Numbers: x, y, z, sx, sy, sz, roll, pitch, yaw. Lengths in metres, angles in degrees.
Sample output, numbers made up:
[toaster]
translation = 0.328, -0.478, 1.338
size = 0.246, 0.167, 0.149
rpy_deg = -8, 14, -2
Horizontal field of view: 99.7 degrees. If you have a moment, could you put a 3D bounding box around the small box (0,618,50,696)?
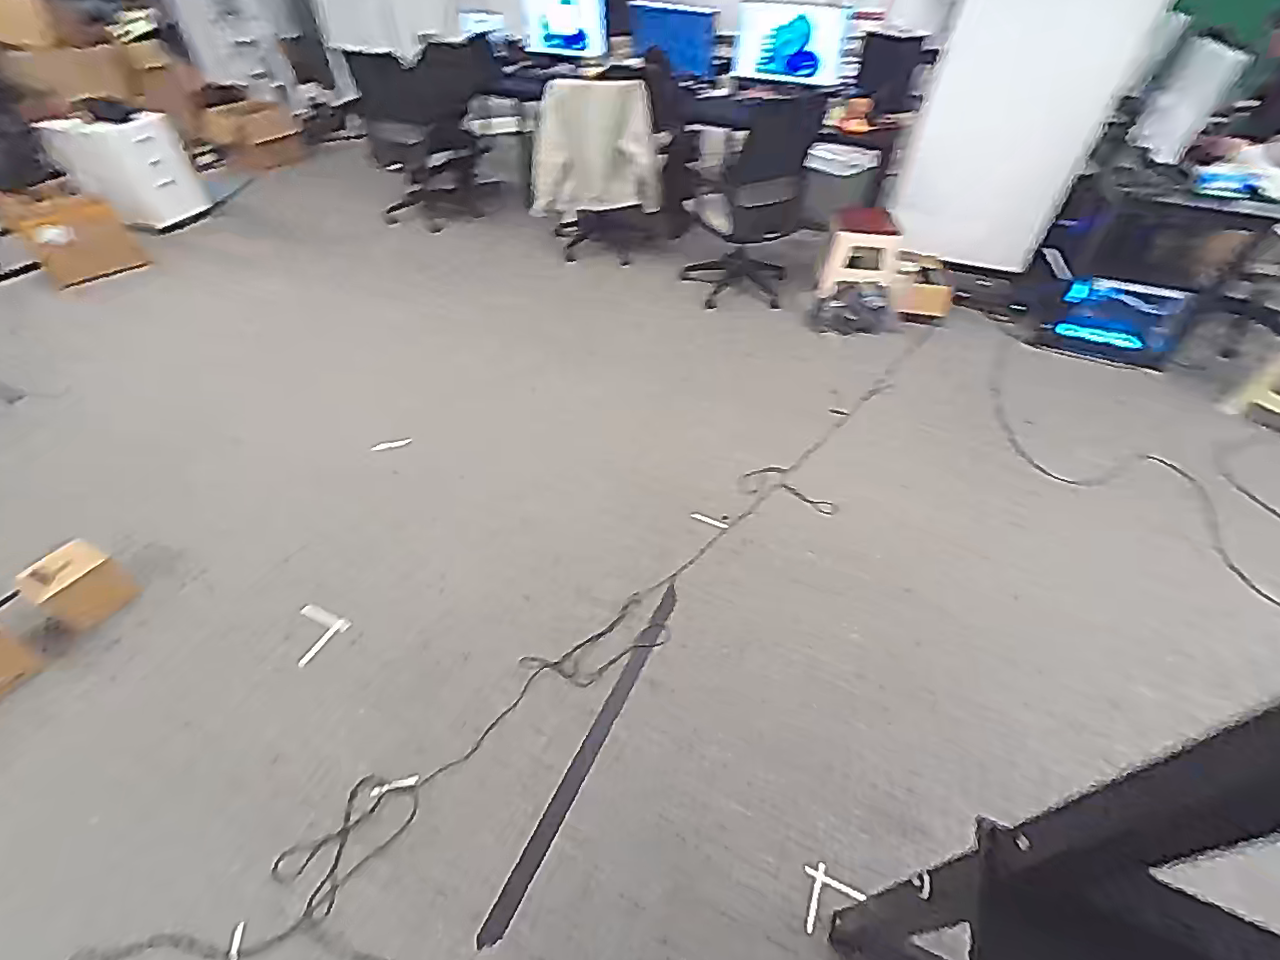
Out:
[small box]
translation = -1.795, 0.477, 1.468
size = 0.179, 0.176, 0.168
rpy_deg = 22, 50, 19
